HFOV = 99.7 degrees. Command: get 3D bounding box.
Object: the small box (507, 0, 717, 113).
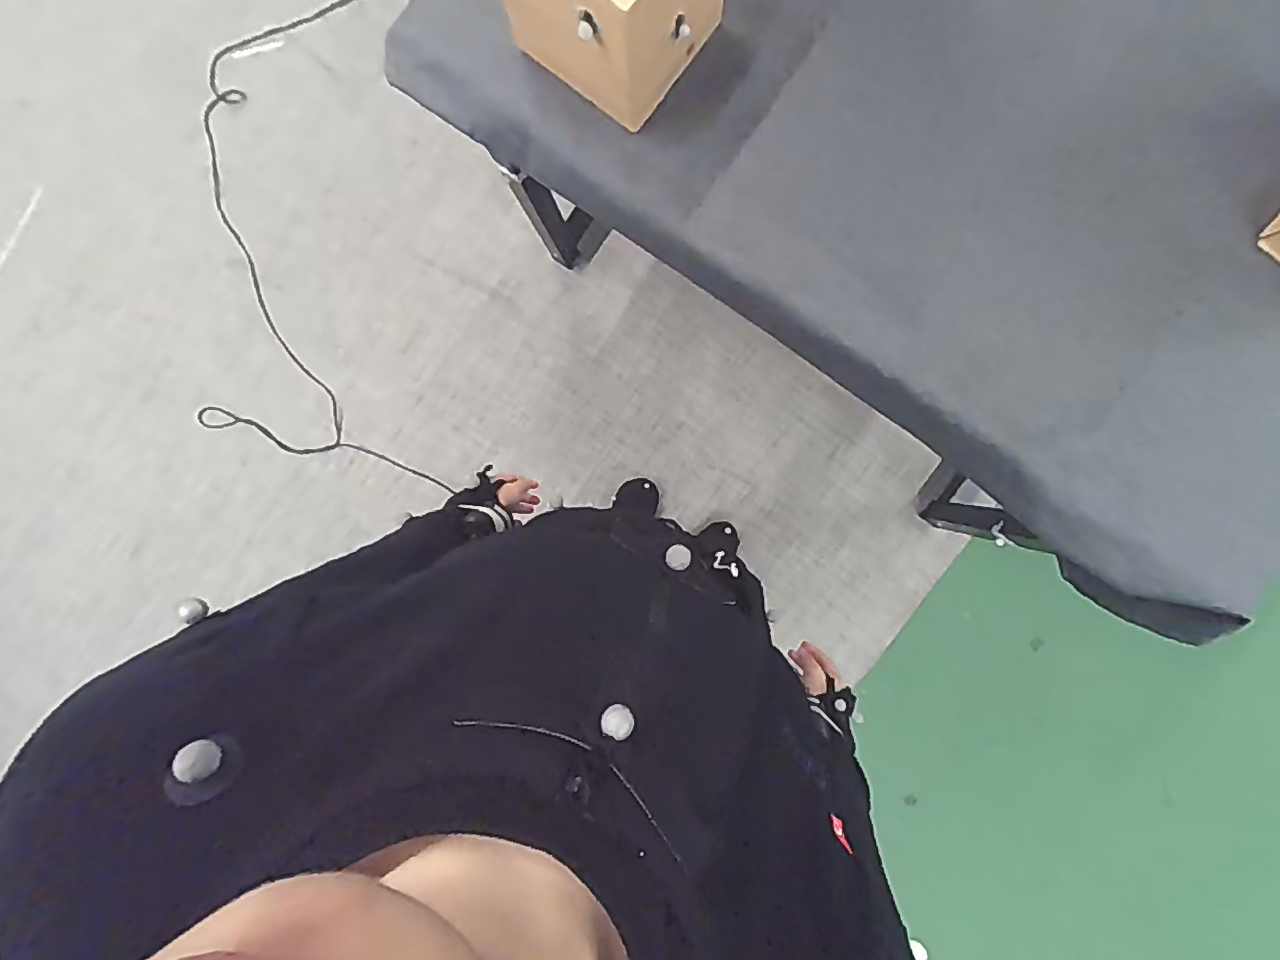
[{"bbox_3d":[-0.027,-0.521,0.545,0.179,0.176,0.168,38,91,1],"label":"small box"}]
